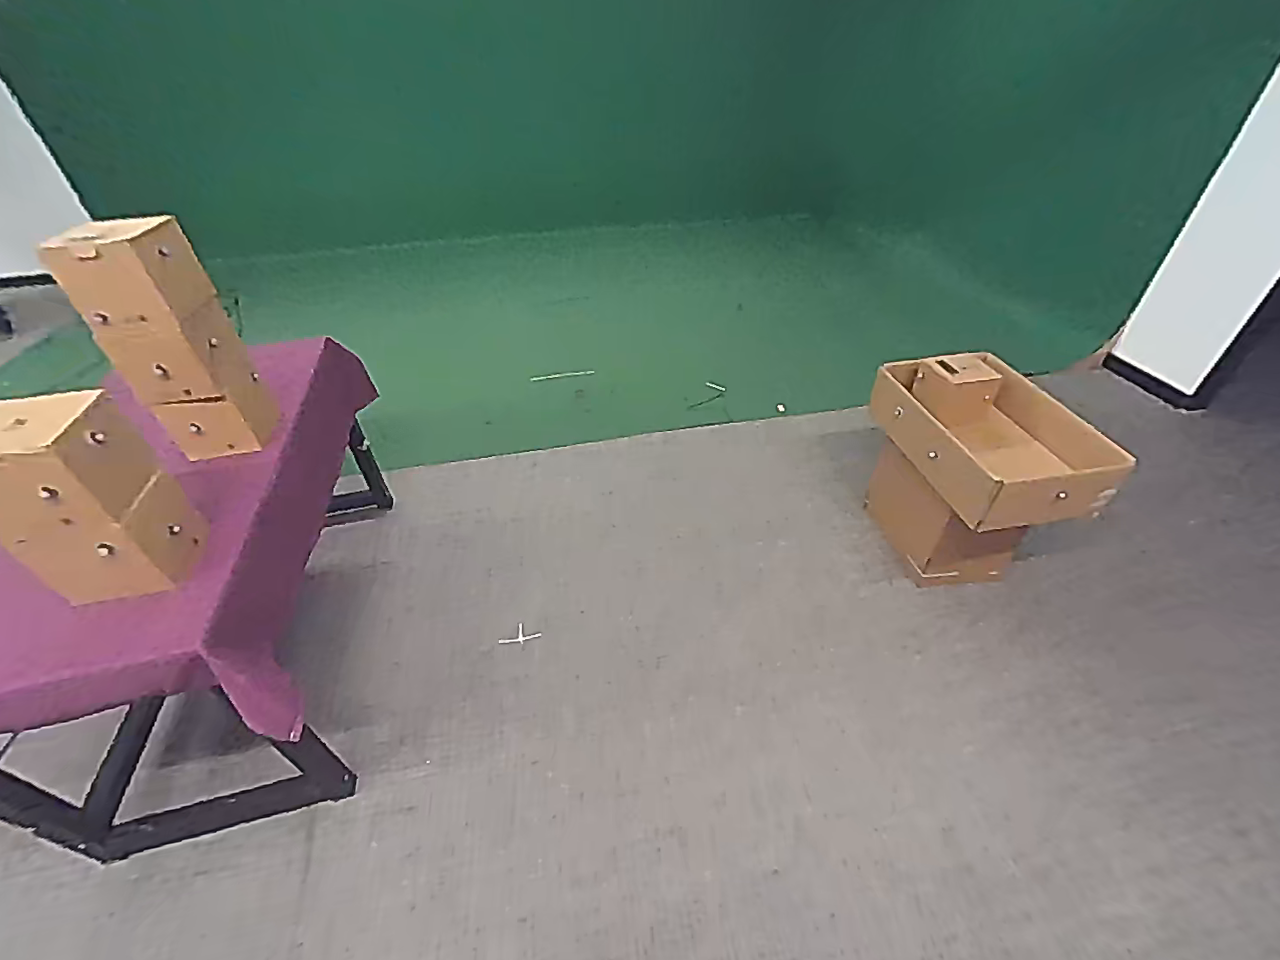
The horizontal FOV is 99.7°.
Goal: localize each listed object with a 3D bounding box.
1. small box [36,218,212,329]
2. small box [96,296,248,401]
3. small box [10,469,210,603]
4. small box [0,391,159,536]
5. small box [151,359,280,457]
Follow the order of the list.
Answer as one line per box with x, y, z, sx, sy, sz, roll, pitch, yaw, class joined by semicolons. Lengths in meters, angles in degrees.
-1.034;-0.420;1.109;0.168;0.176;0.179;-8;40;-5;small box
-1.027;-0.289;1.210;0.168;0.176;0.179;-7;42;-5;small box
-0.956;0.104;1.002;0.179;0.176;0.168;-9;41;-7;small box
-0.964;-0.022;0.899;0.168;0.176;0.179;-9;41;-9;small box
-1.022;-0.170;1.323;0.168;0.176;0.179;-10;41;-8;small box
